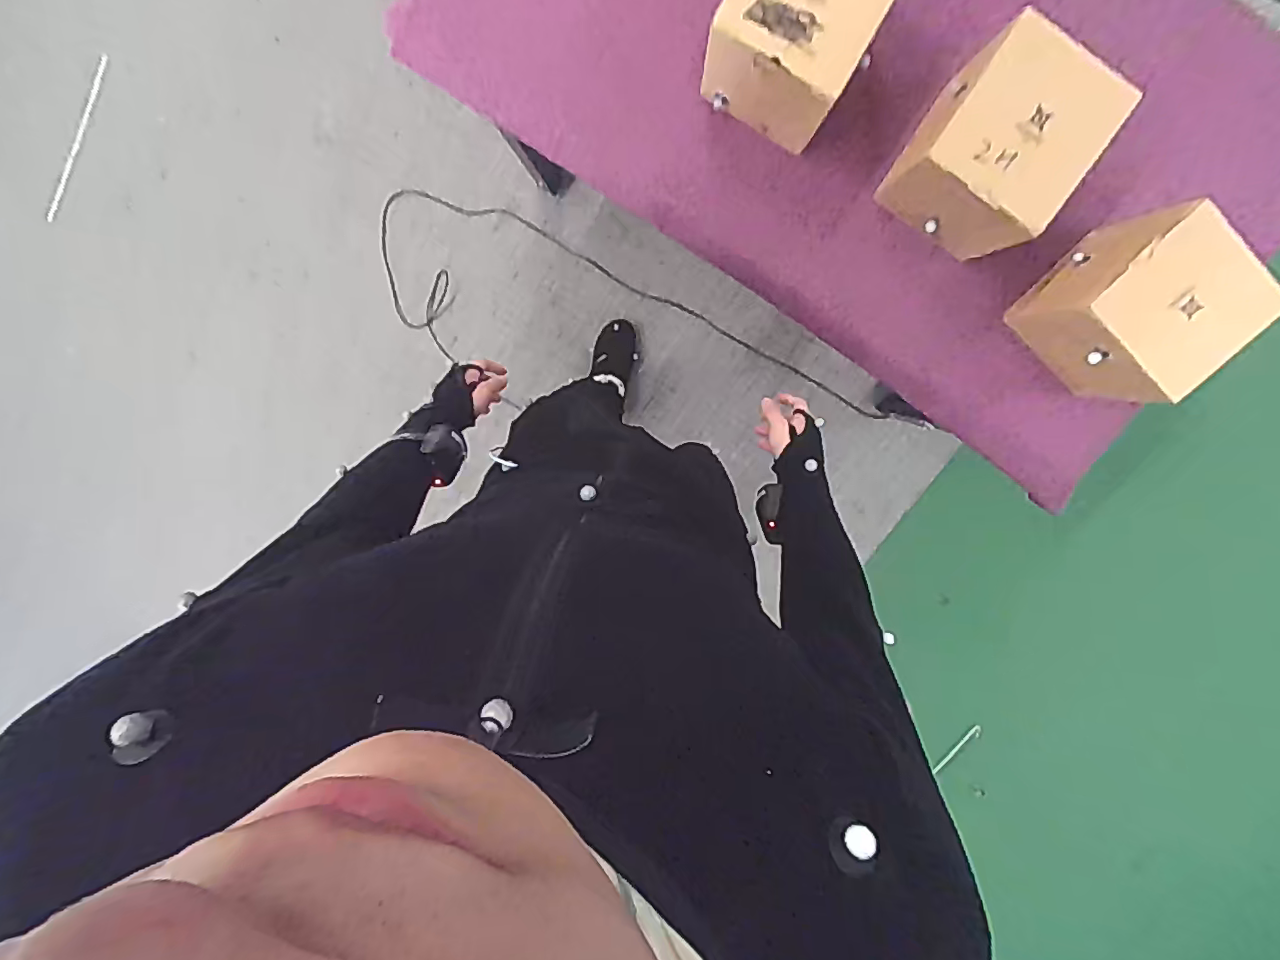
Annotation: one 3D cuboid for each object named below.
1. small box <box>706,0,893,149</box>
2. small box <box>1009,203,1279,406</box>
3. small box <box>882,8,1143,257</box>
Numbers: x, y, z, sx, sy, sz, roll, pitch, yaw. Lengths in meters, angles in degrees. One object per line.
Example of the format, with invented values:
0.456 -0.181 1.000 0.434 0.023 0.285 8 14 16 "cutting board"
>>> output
0.192 -0.550 0.659 0.168 0.176 0.179 29 102 -5 "small box"
0.653 -0.222 0.717 0.179 0.176 0.168 43 101 -6 "small box"
0.443 -0.413 0.681 0.168 0.176 0.179 33 103 -5 "small box"
